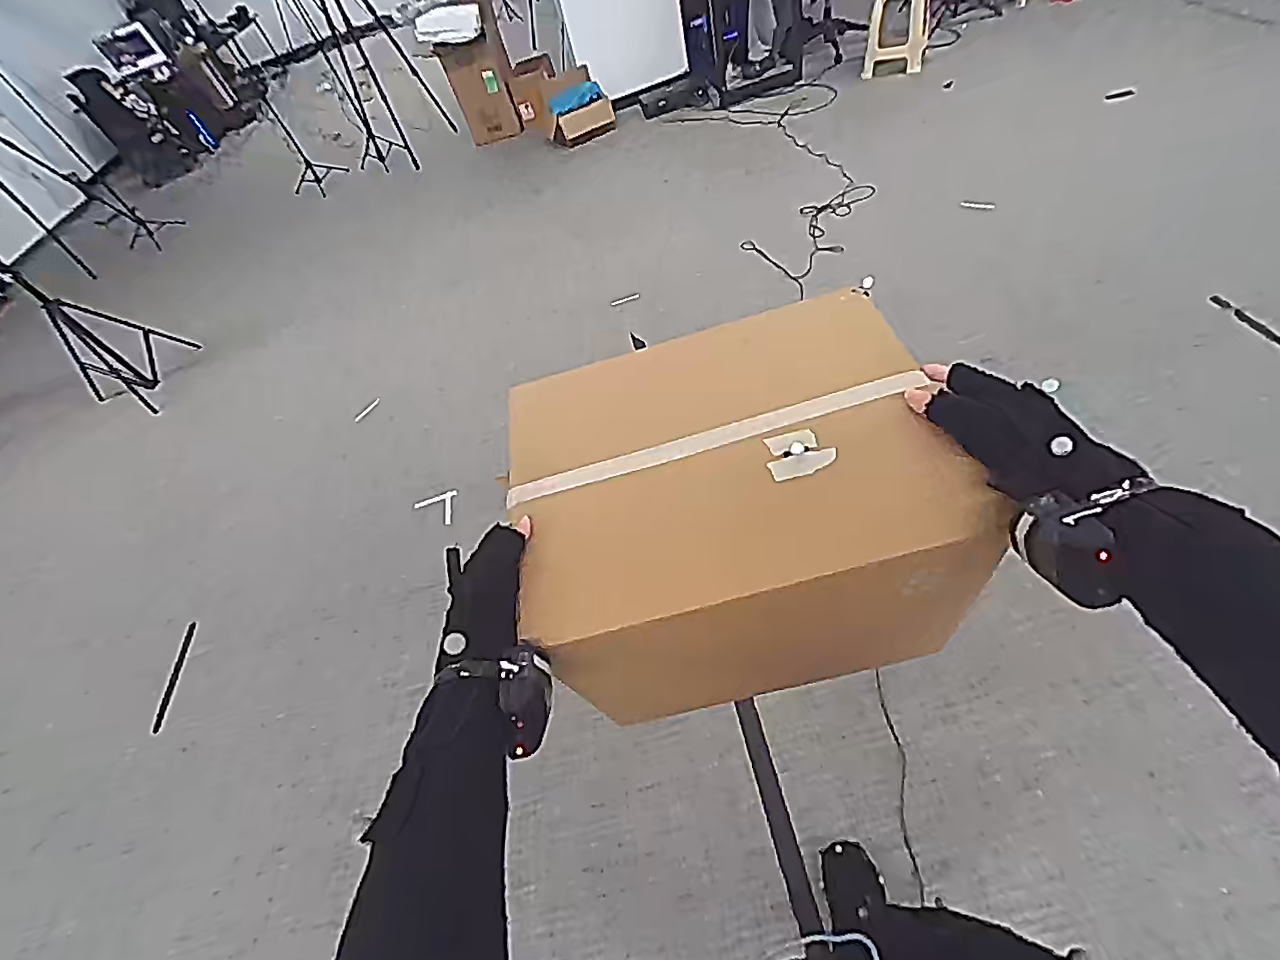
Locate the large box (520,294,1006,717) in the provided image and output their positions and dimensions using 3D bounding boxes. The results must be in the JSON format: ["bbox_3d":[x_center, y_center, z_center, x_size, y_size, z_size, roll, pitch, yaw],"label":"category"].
[{"bbox_3d":[0.107,0.047,0.646,0.408,0.320,0.320,-16,54,4],"label":"large box"}]
